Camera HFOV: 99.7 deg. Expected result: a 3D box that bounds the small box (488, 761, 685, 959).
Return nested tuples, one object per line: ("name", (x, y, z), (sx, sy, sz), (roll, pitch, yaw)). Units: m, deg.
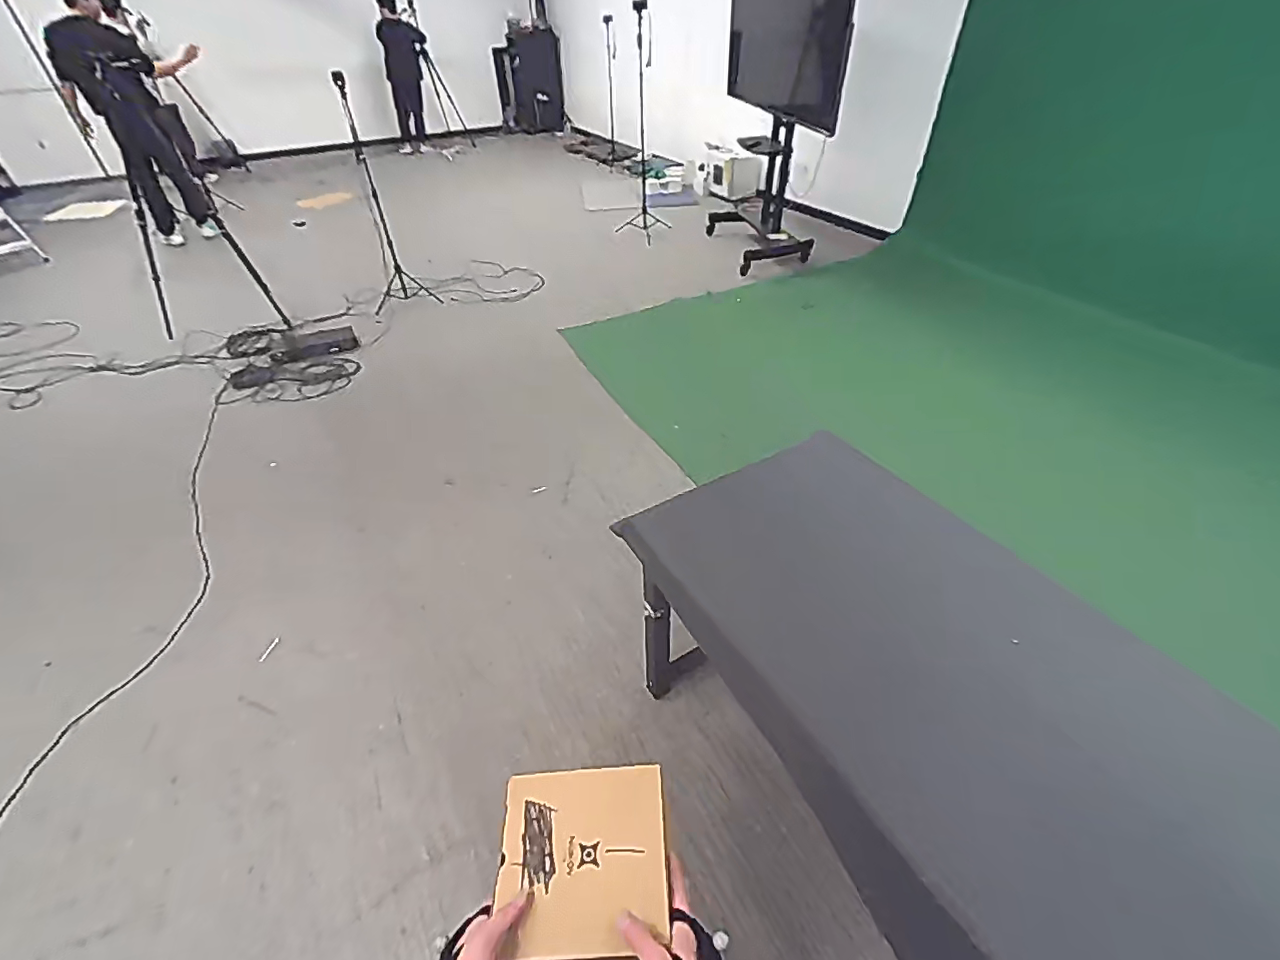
("small box", (-0.046, 0.430, 0.585), (0.179, 0.176, 0.168), (-5, 40, 0))
